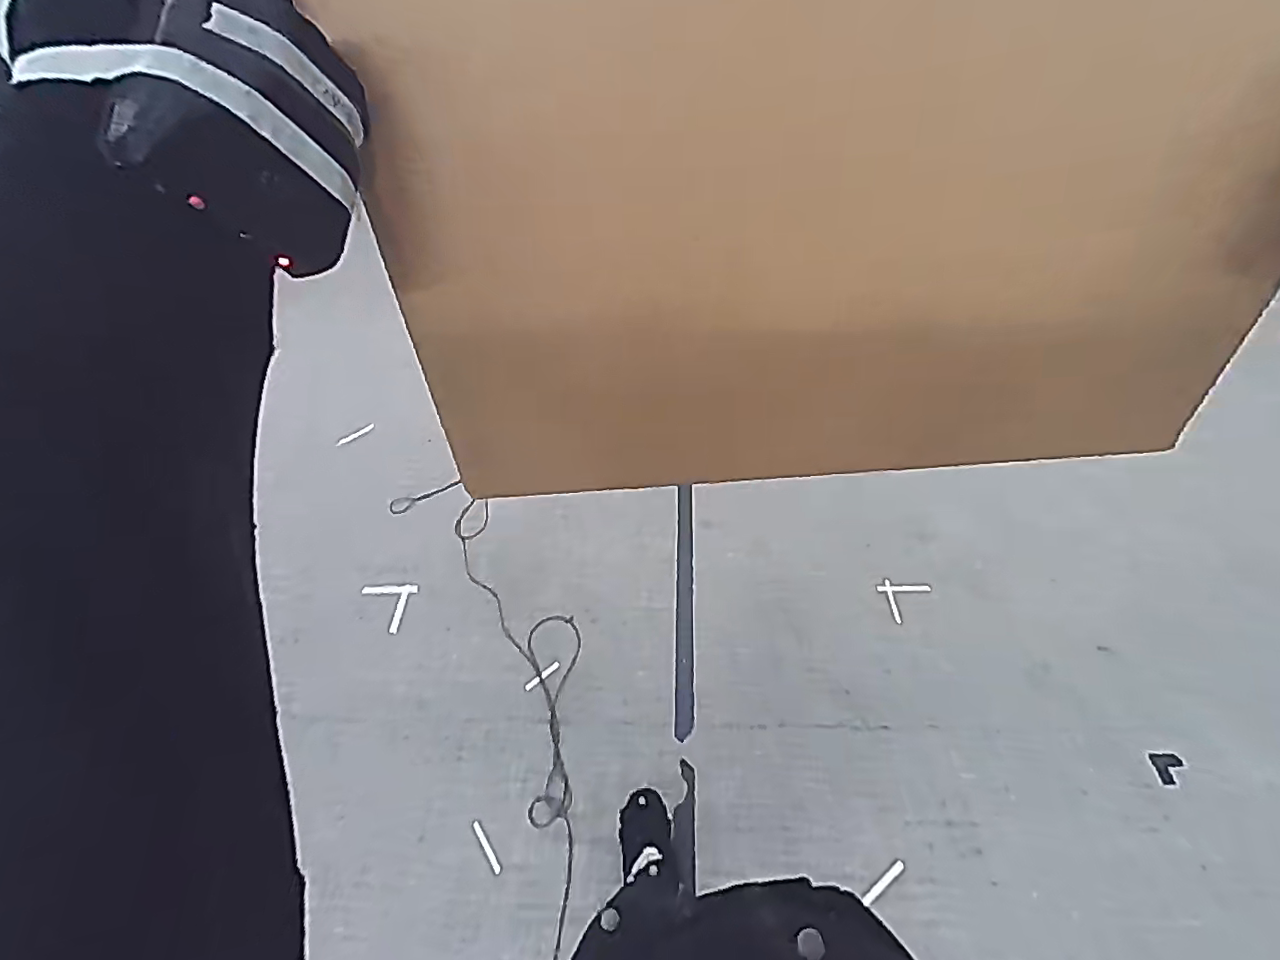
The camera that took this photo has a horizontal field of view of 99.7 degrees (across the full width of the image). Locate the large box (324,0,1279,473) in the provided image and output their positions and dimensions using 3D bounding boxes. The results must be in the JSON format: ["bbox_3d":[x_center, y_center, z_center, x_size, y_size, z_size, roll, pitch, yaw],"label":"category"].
[{"bbox_3d":[0.079,-0.224,0.341,0.408,0.320,0.320,-4,39,0],"label":"large box"}]
